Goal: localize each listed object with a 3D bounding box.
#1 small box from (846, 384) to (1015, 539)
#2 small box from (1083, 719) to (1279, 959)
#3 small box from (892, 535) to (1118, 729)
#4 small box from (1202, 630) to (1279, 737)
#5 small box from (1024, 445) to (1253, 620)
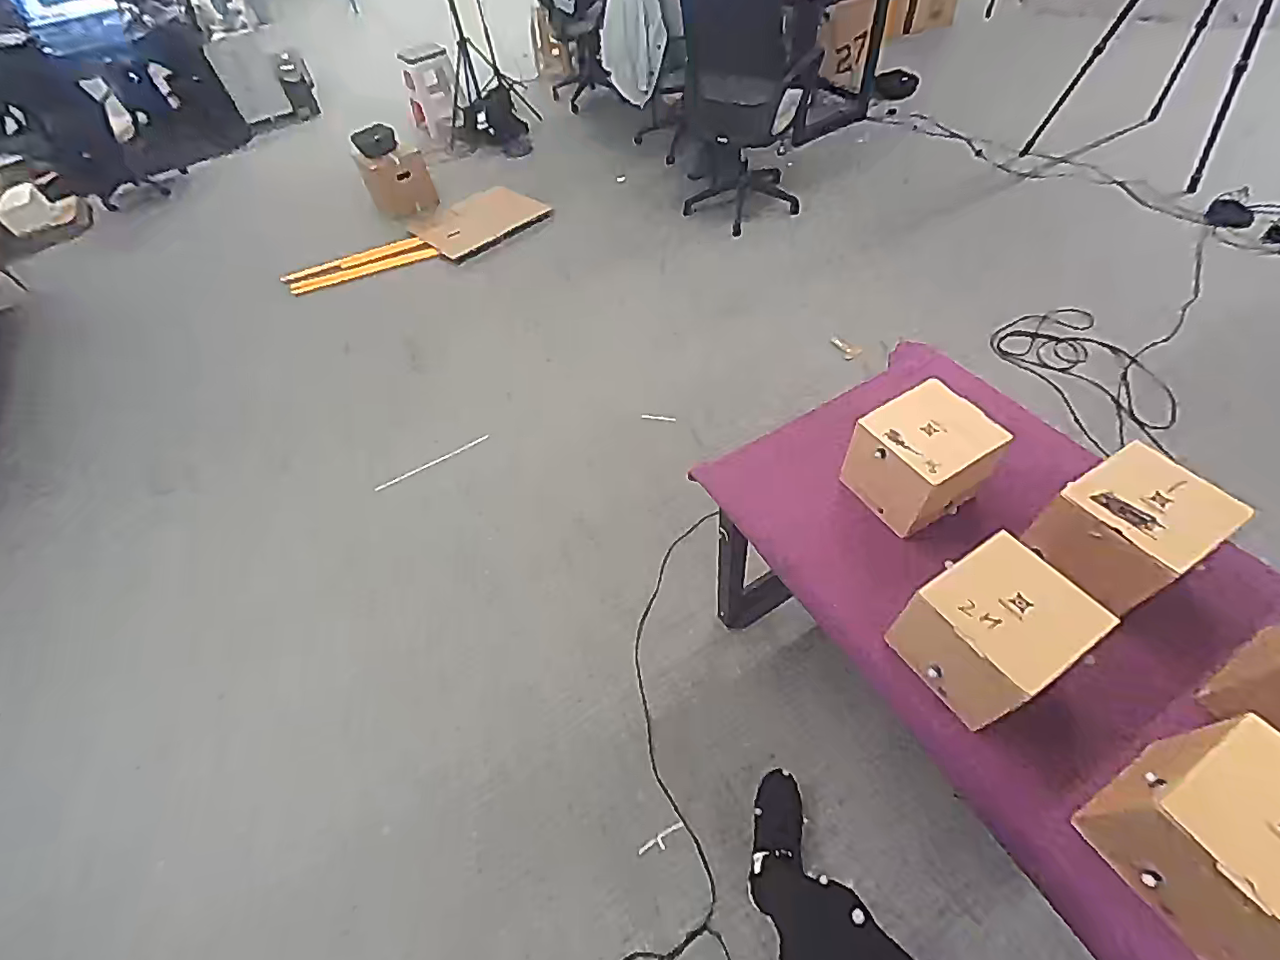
[{"bbox_3d":[0.489,-0.031,0.943,0.179,0.176,0.168,-27,53,-13],"label":"small box"},{"bbox_3d":[0.656,0.403,0.600,0.179,0.176,0.168,-28,55,-14],"label":"small box"},{"bbox_3d":[0.491,0.215,0.759,0.179,0.176,0.168,-28,55,-15],"label":"small box"},{"bbox_3d":[0.877,0.275,0.668,0.179,0.176,0.168,-30,54,-13],"label":"small box"},{"bbox_3d":[0.736,0.086,0.827,0.179,0.176,0.168,-28,55,-14],"label":"small box"}]
